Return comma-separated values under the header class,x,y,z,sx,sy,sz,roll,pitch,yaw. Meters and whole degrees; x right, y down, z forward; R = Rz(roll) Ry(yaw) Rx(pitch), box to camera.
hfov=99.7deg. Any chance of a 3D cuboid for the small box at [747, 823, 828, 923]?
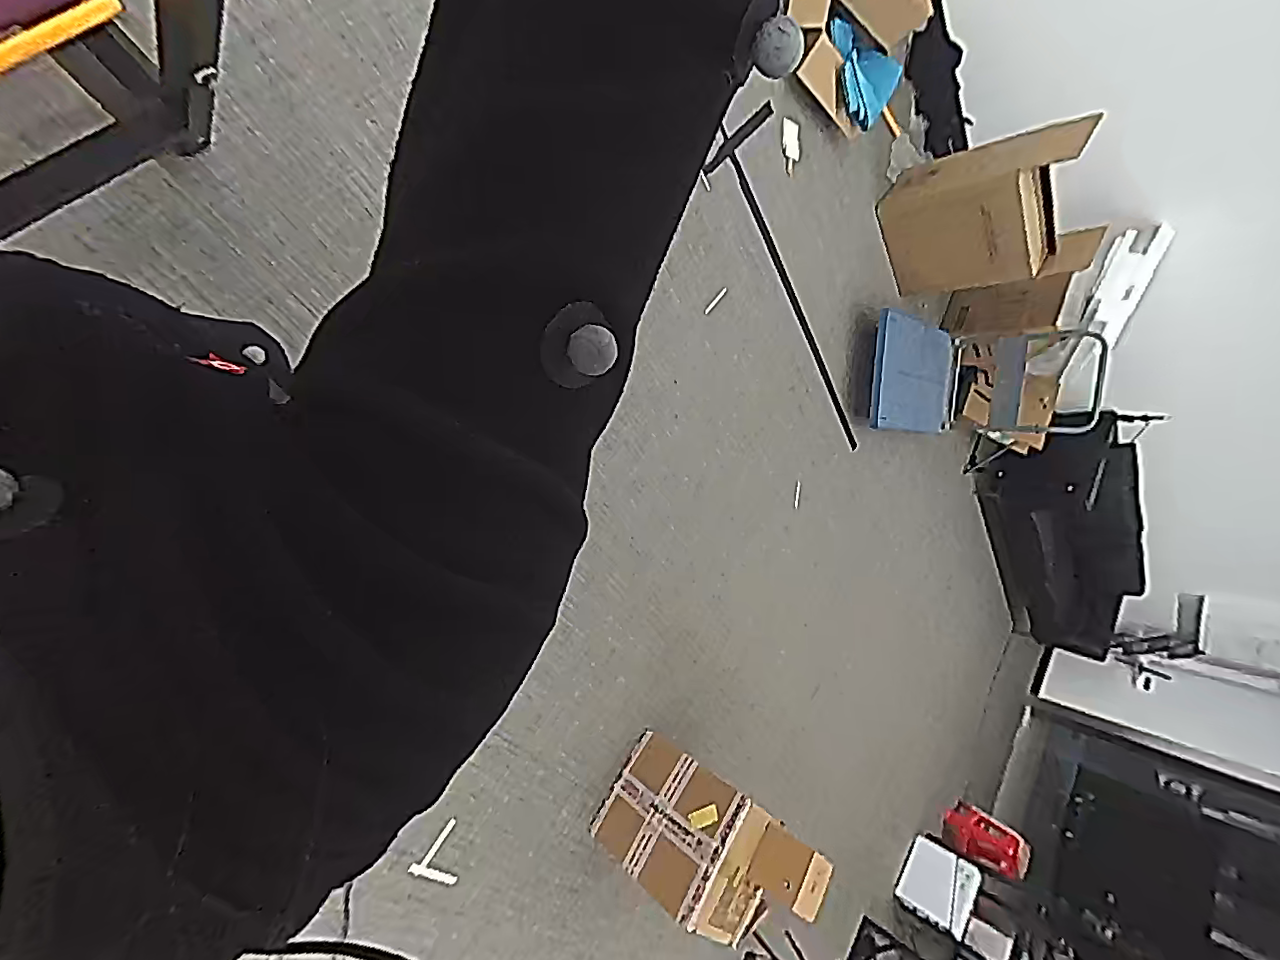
class,x,y,z,sx,sy,sz,roll,pitch,yaw
small box,0.461,1.237,1.712,0.179,0.176,0.168,-54,126,-25
